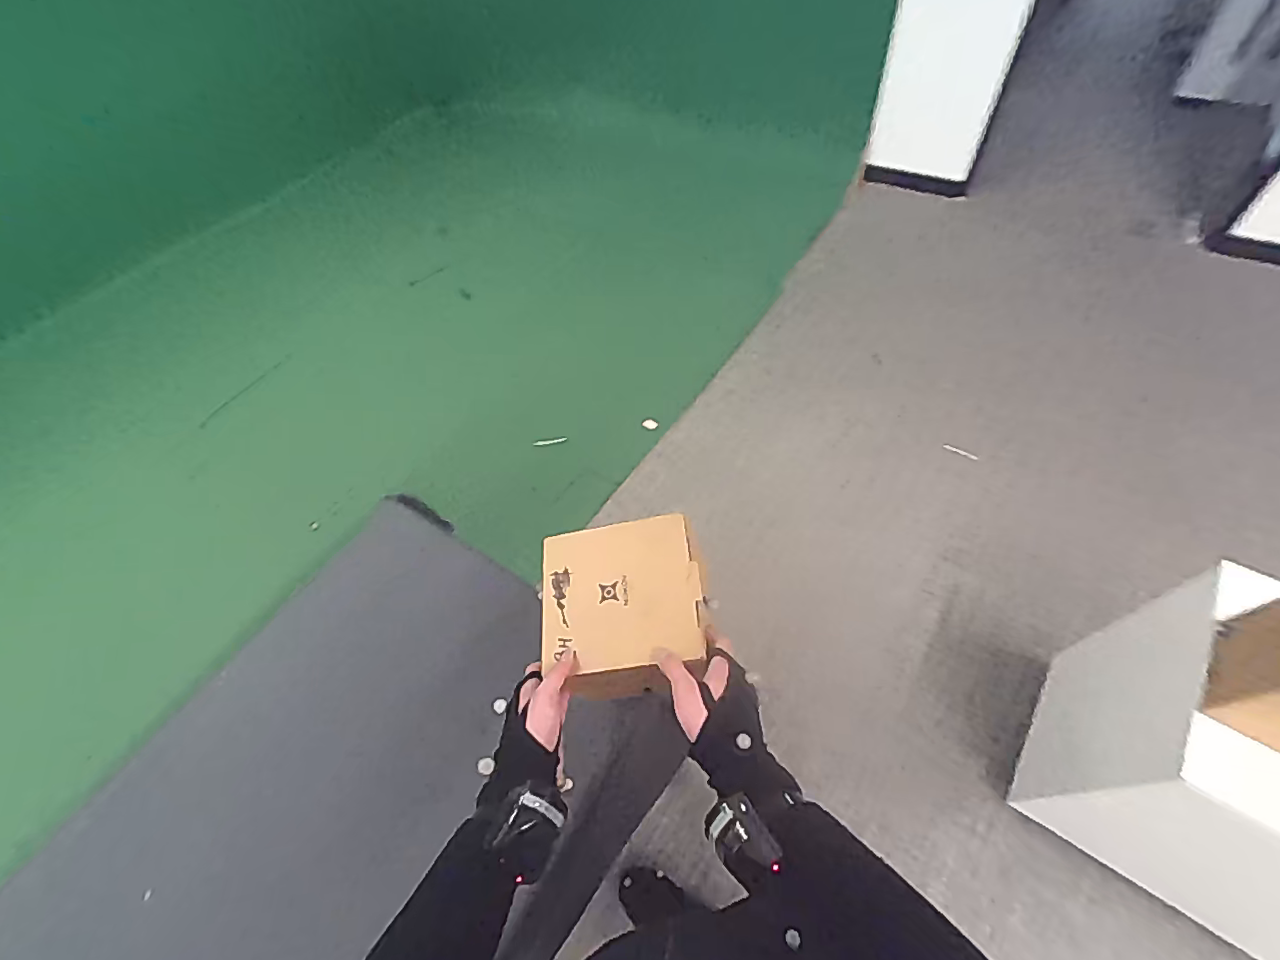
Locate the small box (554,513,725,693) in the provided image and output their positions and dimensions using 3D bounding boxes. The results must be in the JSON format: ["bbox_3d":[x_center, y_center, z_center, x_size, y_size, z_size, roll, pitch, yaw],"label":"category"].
[{"bbox_3d":[0.007,0.156,0.653,0.179,0.176,0.168,-8,60,9],"label":"small box"}]

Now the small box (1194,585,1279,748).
[{"bbox_3d":[0.924,0.269,0.735,0.179,0.176,0.168,29,65,20],"label":"small box"}]
